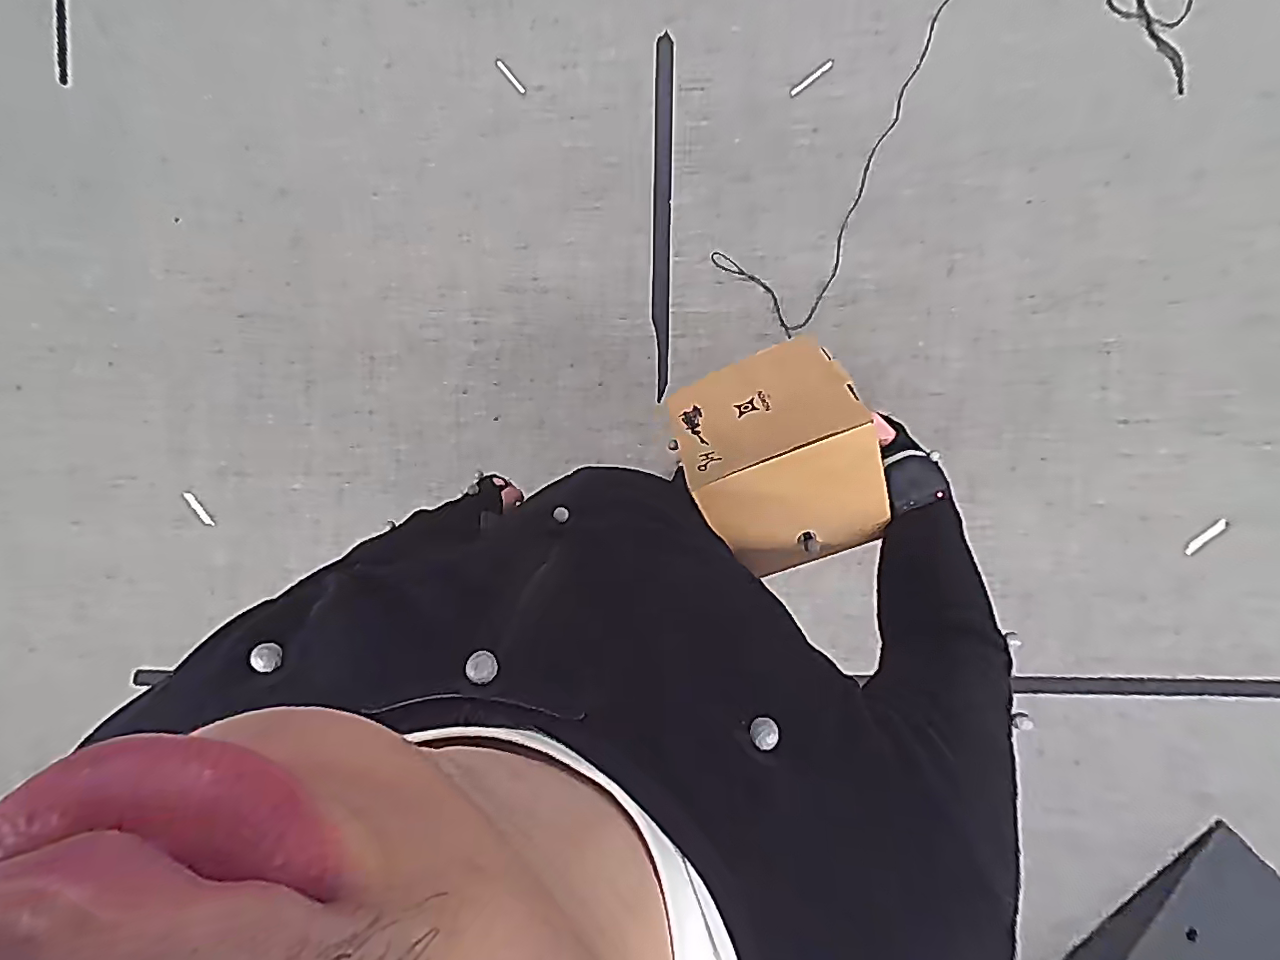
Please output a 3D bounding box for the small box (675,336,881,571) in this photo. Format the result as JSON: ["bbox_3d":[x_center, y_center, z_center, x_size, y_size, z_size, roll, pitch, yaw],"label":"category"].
[{"bbox_3d":[0.158,-0.026,0.616,0.179,0.168,0.176,-21,130,12],"label":"small box"}]
